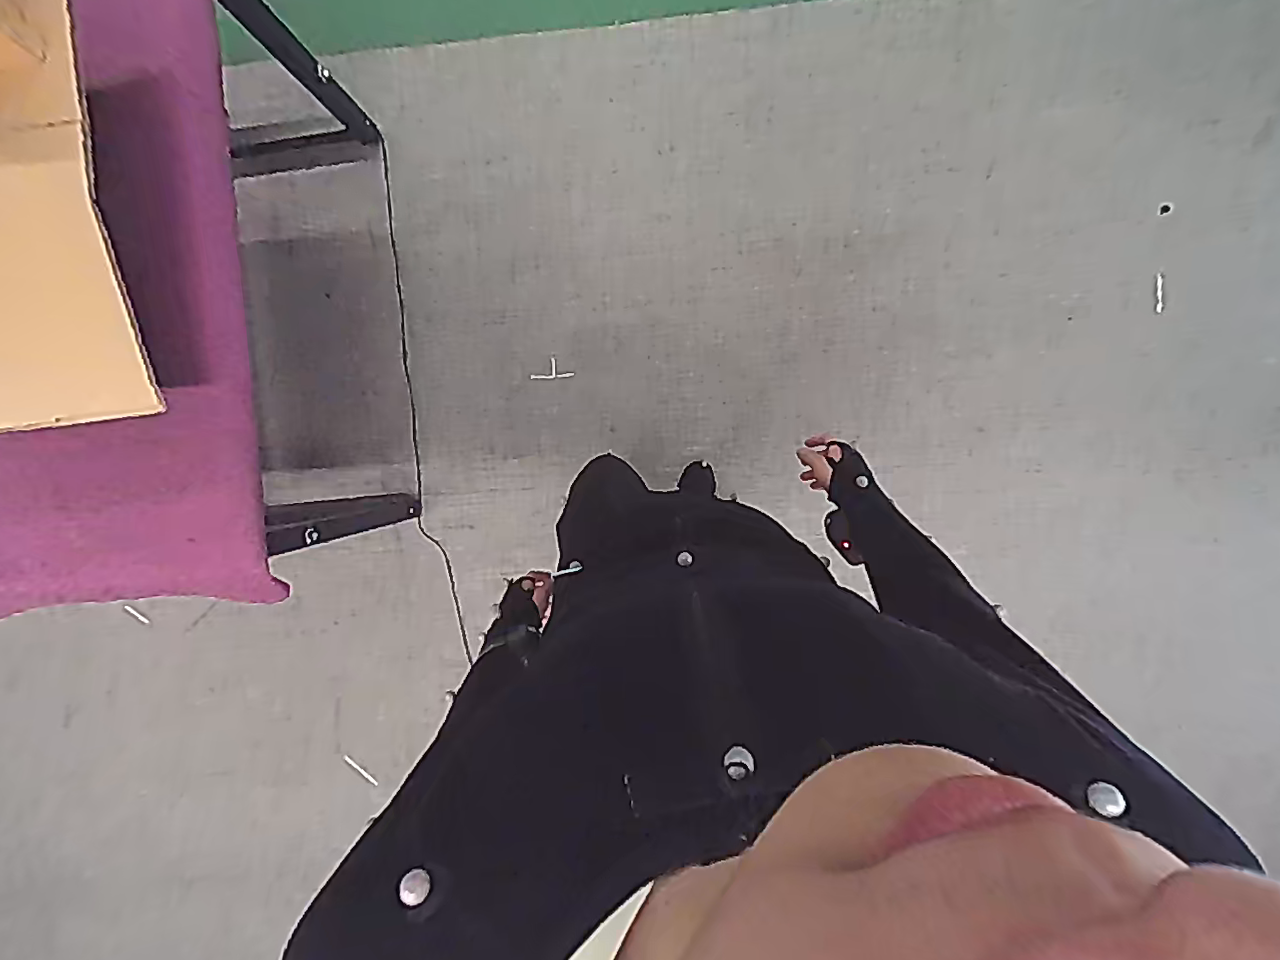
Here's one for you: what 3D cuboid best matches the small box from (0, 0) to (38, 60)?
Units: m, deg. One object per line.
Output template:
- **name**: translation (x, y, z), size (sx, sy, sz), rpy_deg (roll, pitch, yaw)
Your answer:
- **small box**: translation (-0.916, -0.650, 0.661), size (0.179, 0.176, 0.168), rpy_deg (-7, 90, 2)
